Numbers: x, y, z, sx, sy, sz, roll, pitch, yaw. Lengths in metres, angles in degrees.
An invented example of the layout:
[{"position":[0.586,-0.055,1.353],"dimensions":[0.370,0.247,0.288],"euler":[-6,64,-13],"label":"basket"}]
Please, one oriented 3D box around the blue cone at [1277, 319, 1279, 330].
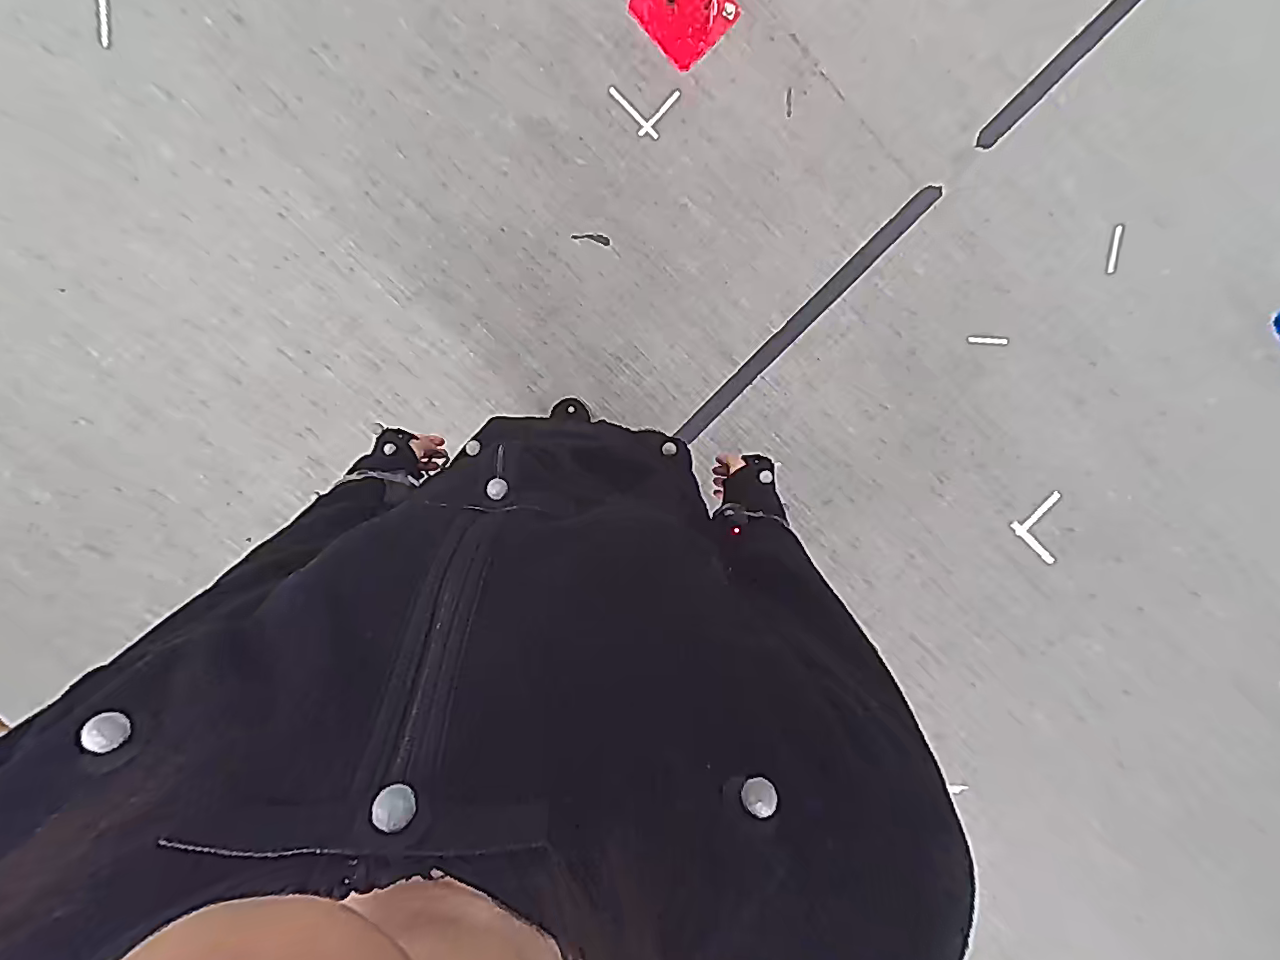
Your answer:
[{"position":[1.849,-0.395,1.300],"dimensions":[0.192,0.380,0.193],"euler":[-42,99,4],"label":"blue cone"}]
